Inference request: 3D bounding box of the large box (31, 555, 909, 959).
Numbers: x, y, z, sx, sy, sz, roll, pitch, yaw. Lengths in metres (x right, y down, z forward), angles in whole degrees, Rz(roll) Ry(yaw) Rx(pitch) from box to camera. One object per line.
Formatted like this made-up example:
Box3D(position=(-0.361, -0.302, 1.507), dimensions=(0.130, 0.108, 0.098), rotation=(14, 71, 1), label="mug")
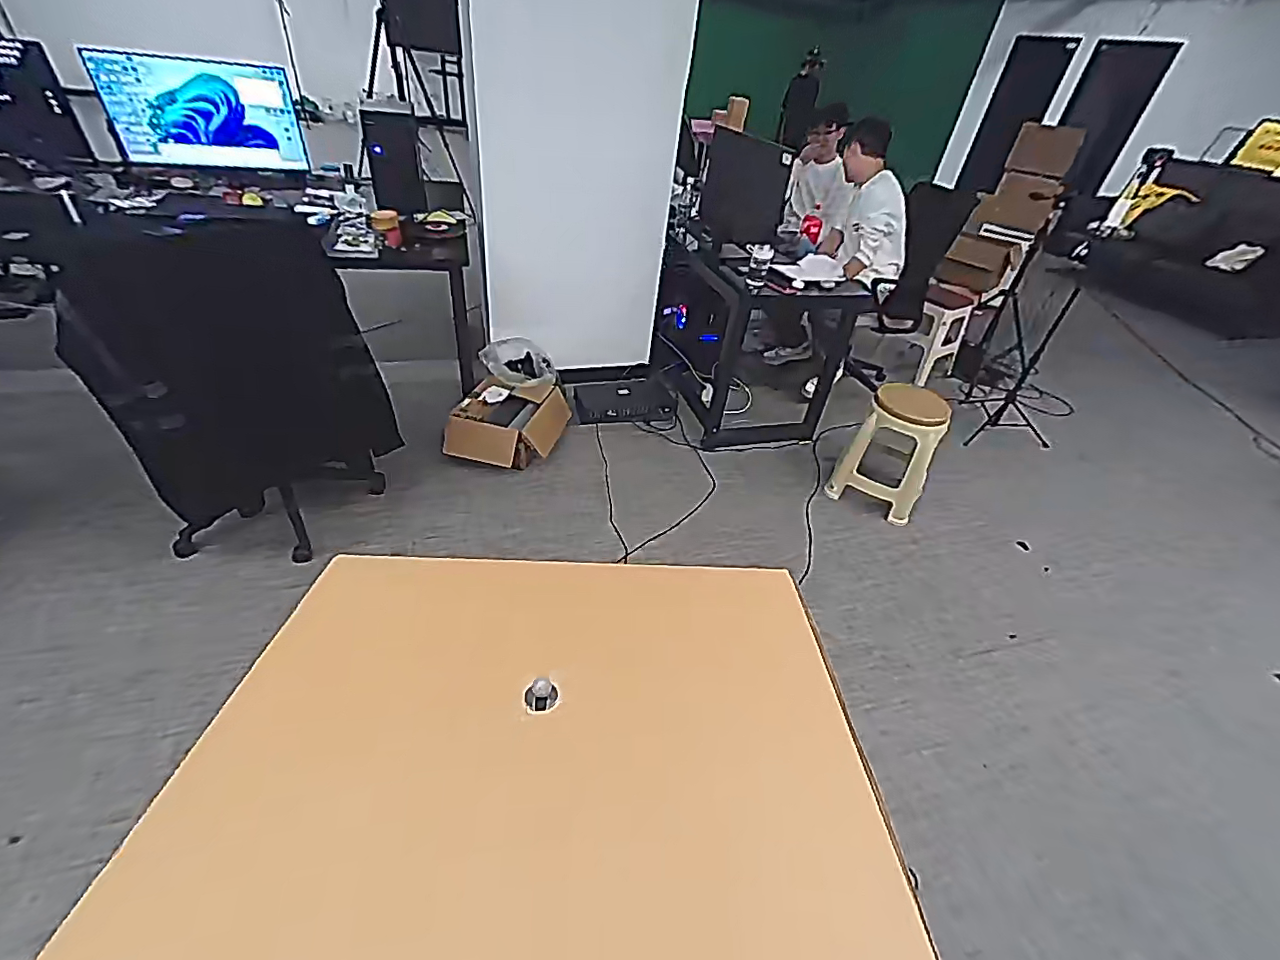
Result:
Box3D(position=(-0.082, 0.273, 0.429), dimensions=(0.408, 0.320, 0.320), rotation=(0, 33, -2), label="large box")
